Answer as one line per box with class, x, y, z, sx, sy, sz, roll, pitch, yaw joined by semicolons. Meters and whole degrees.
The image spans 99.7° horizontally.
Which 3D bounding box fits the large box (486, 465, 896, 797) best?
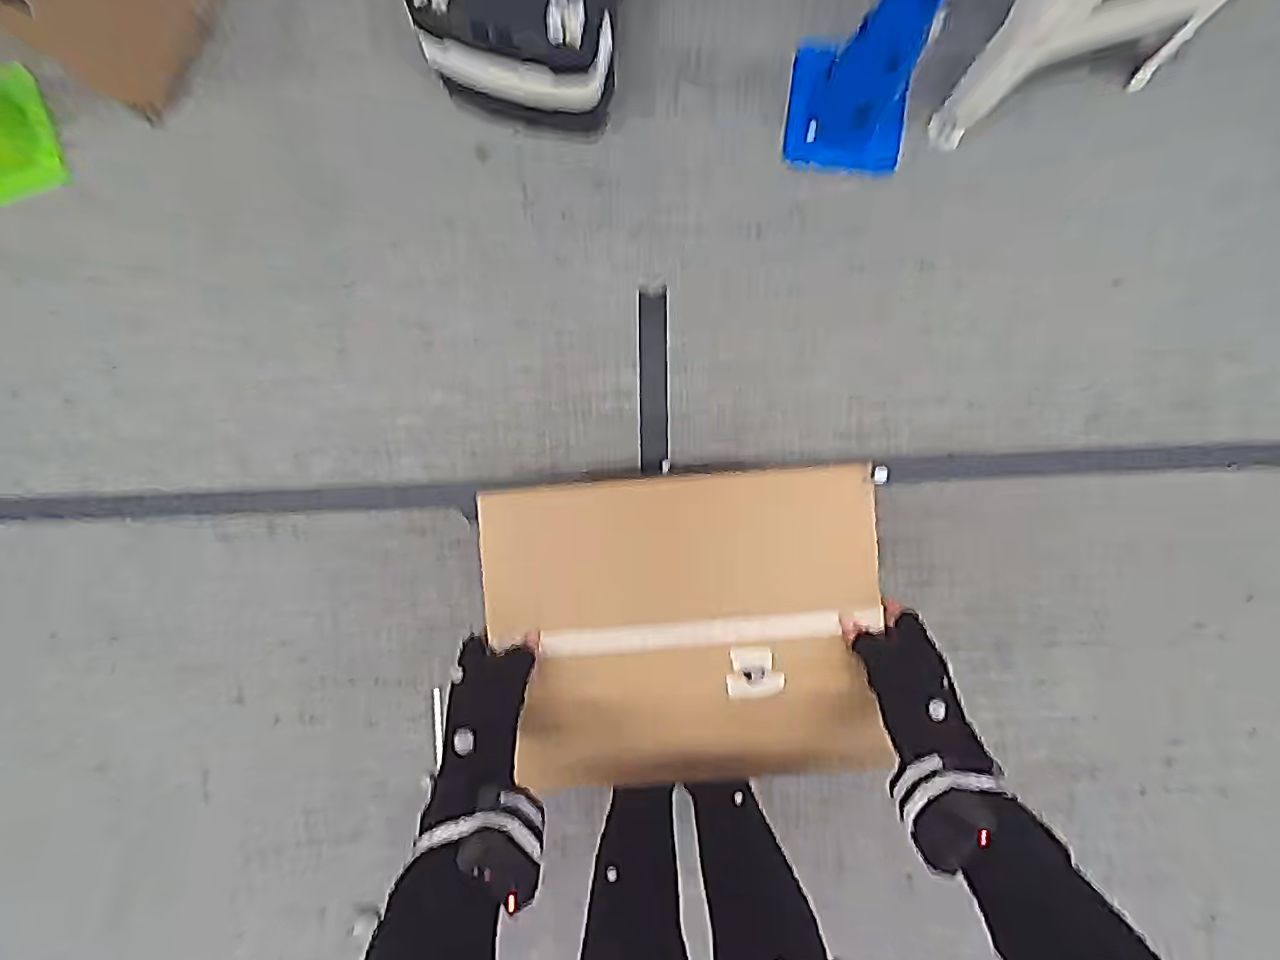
large box;0.052;0.155;0.703;0.408;0.320;0.320;-5;92;0
